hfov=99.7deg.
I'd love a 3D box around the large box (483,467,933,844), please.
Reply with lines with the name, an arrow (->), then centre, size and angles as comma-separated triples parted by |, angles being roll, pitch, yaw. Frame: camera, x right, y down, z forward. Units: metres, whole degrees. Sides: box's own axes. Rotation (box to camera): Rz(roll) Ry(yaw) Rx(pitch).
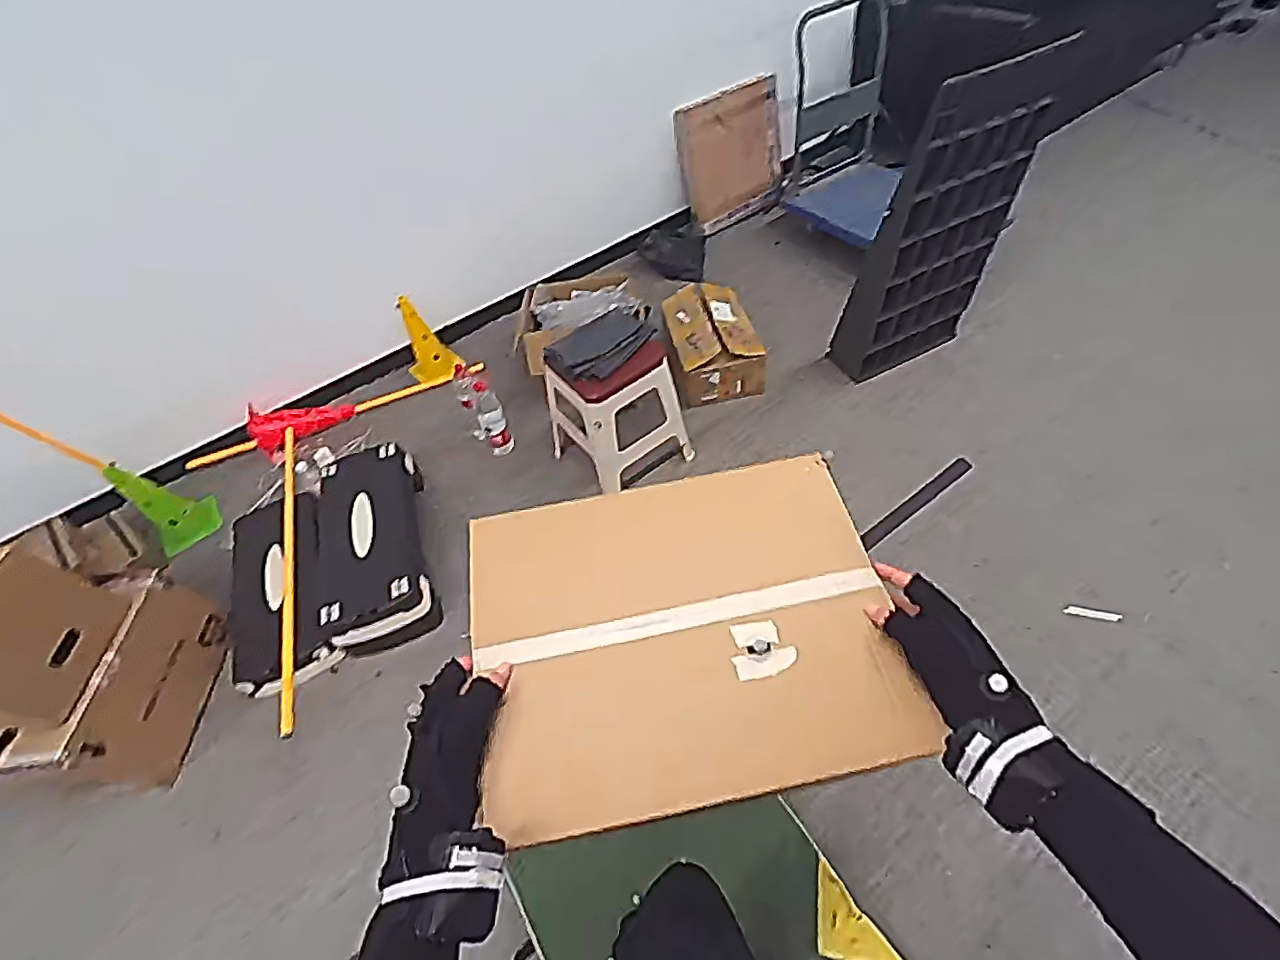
large box -> 0.048, 0.227, 0.672 | 0.408, 0.320, 0.320 | -10, 57, -3
